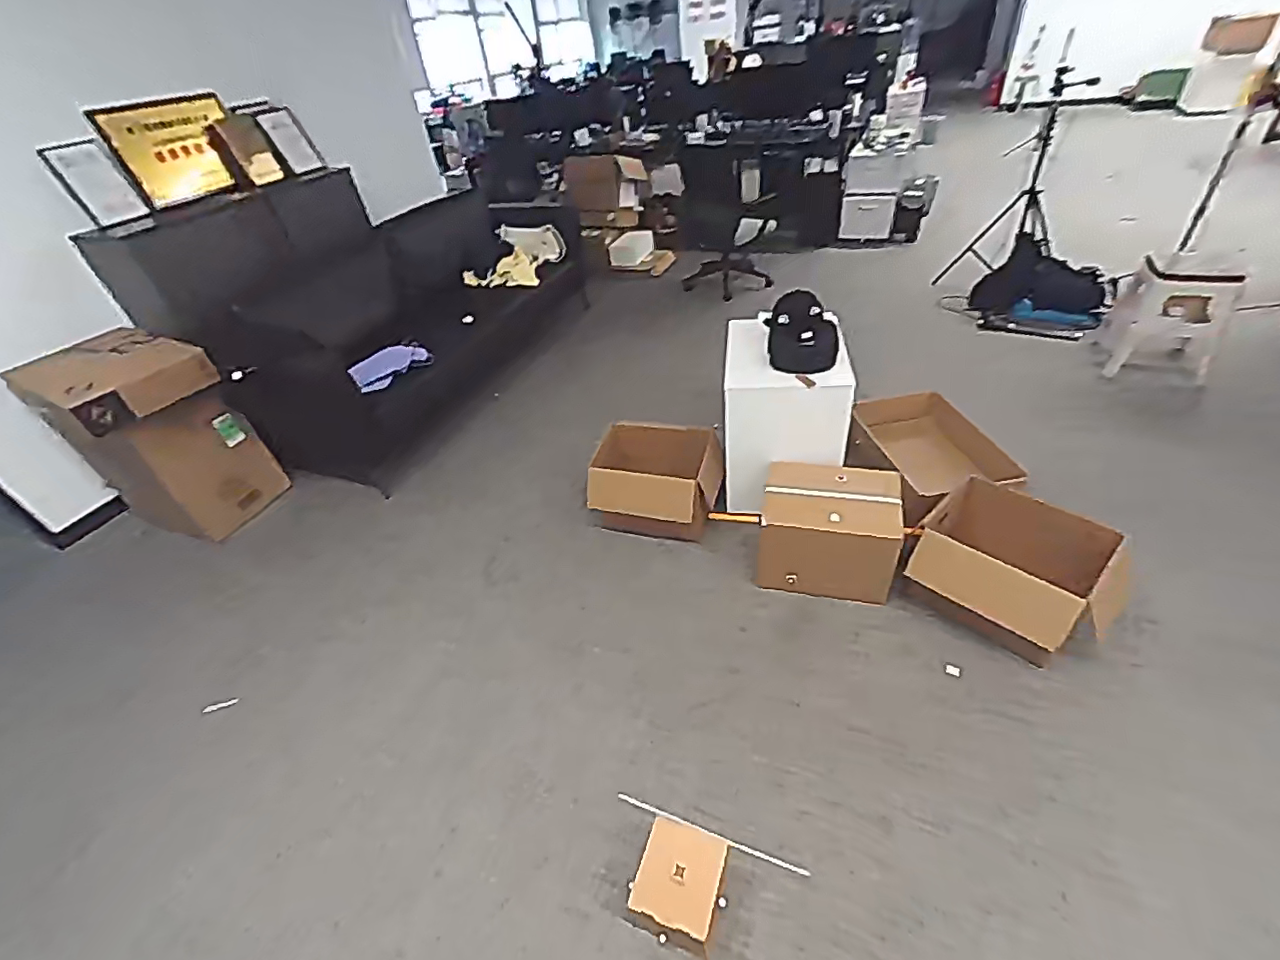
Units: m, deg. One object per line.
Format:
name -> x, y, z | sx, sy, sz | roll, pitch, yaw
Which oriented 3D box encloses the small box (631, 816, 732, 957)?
small box -> 0.095, 0.868, 1.158 | 0.168, 0.176, 0.179 | 9, 43, 21
